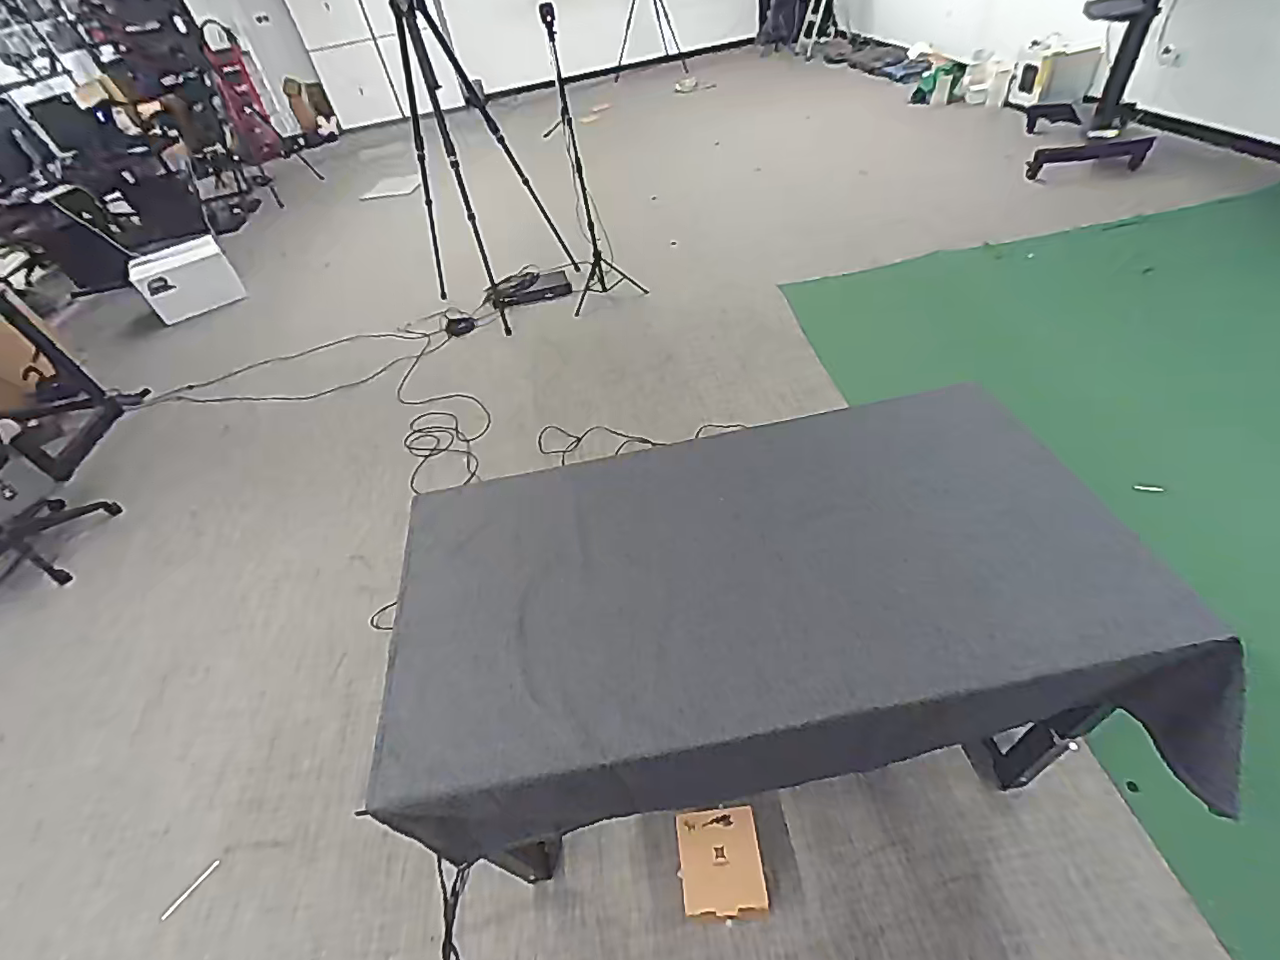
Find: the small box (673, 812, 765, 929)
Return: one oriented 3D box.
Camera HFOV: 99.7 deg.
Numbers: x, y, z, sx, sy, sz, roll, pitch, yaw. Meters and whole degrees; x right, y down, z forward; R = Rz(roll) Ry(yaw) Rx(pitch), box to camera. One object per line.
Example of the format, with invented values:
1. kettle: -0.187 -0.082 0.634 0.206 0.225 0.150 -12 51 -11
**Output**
1. small box: 0.166 0.828 1.141 0.168 0.176 0.179 -9 45 3
